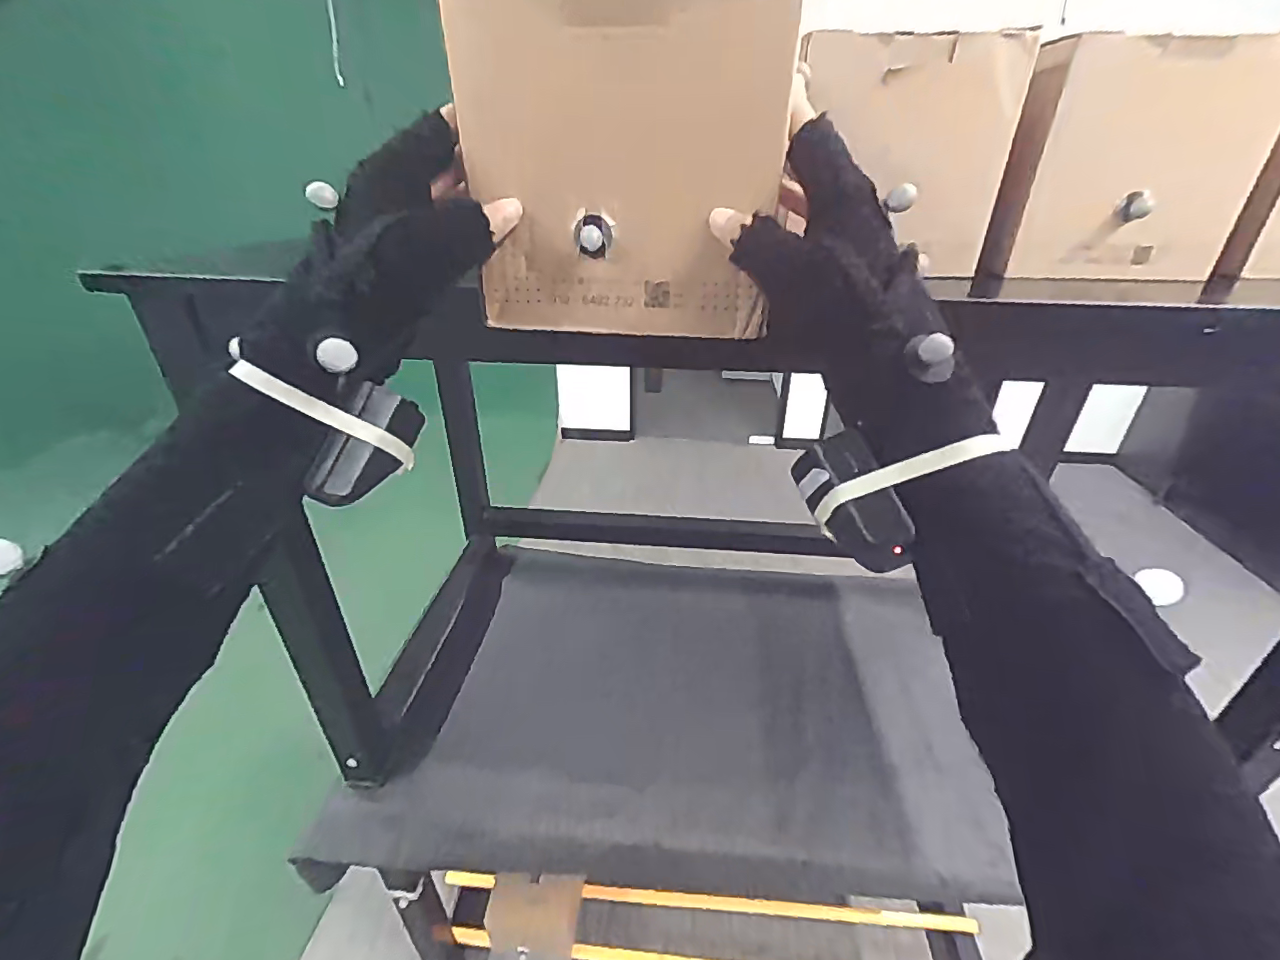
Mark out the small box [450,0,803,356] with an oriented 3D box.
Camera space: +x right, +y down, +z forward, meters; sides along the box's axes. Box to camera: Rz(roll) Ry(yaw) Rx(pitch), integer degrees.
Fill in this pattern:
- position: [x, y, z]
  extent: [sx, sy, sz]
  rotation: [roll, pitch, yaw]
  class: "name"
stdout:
- position: [0.000, -0.194, 0.354]
  extent: [0.168, 0.176, 0.179]
  rotation: [4, 34, 6]
  class: "small box"
